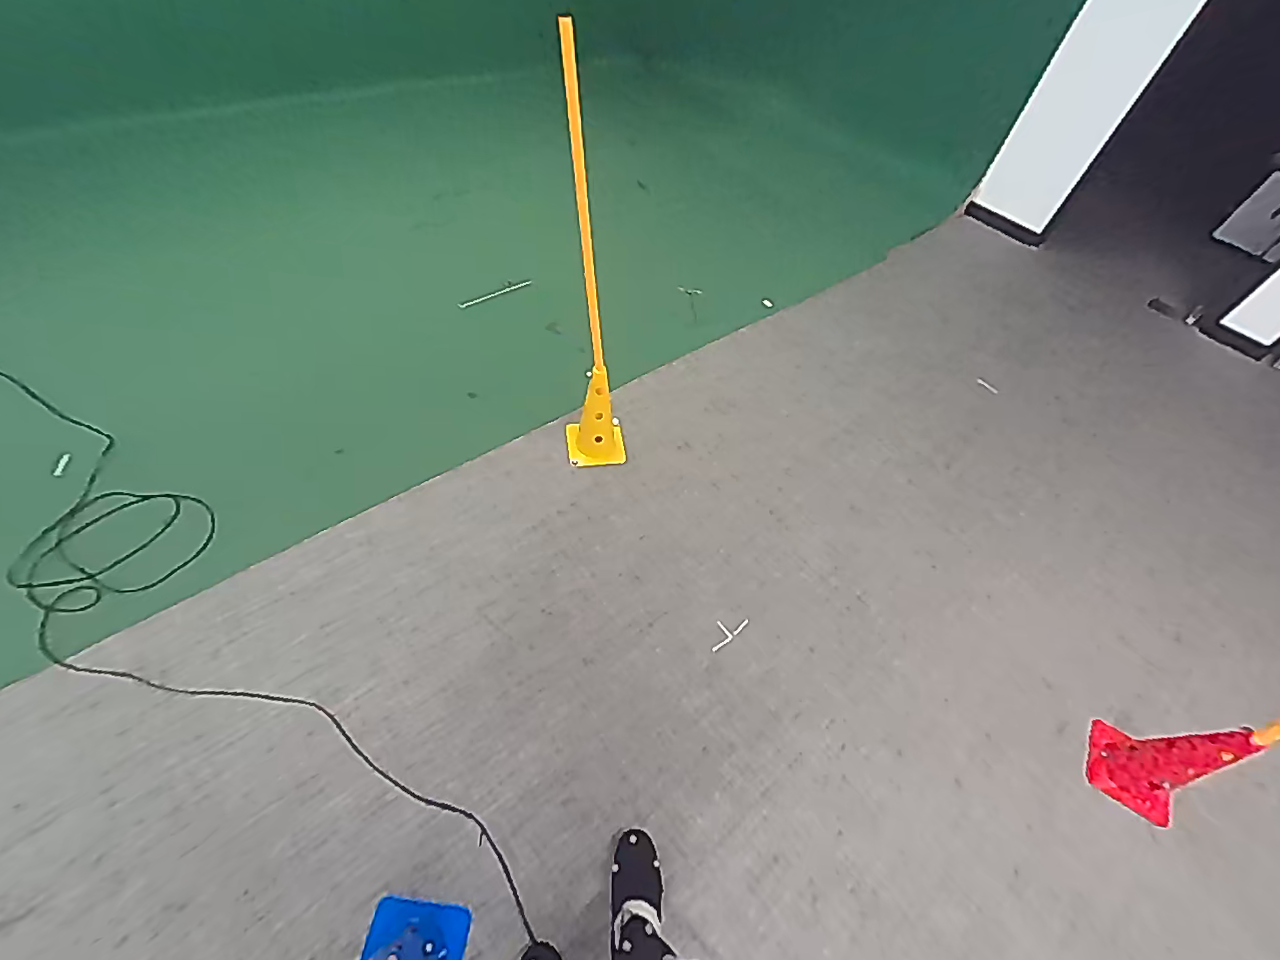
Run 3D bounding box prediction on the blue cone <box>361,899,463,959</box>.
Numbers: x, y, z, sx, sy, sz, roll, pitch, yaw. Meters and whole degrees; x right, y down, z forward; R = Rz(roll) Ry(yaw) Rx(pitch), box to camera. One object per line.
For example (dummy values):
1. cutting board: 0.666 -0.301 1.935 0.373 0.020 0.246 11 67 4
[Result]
1. blue cone: -0.439 0.863 0.936 0.192 0.380 0.193 9 55 -2
